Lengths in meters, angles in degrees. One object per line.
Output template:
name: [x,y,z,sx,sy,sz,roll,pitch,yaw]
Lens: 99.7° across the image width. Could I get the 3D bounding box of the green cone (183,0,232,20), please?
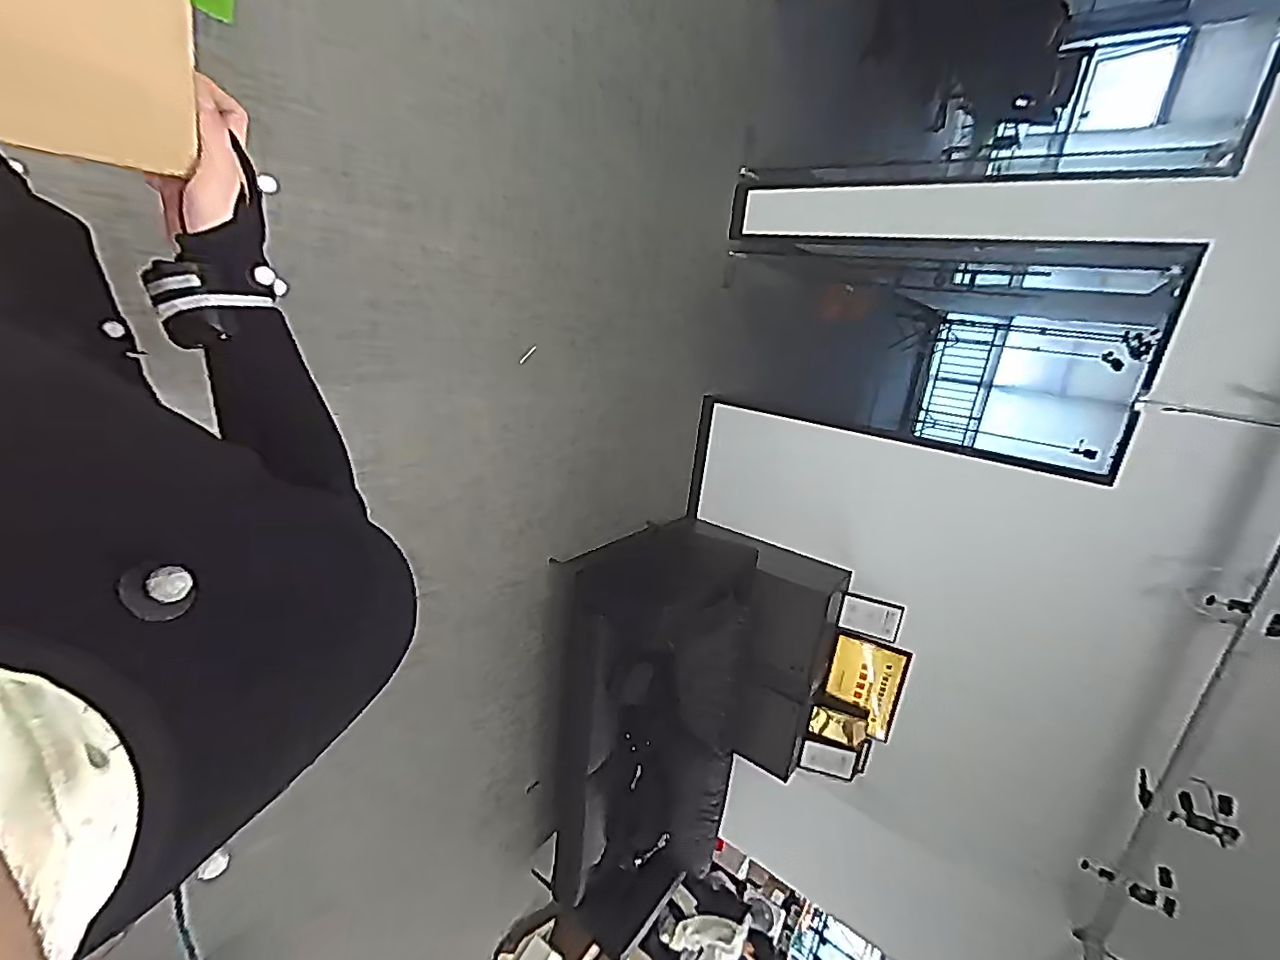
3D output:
green cone: [-0.814,-1.061,1.014,0.200,0.368,0.202,-7,110,-55]
